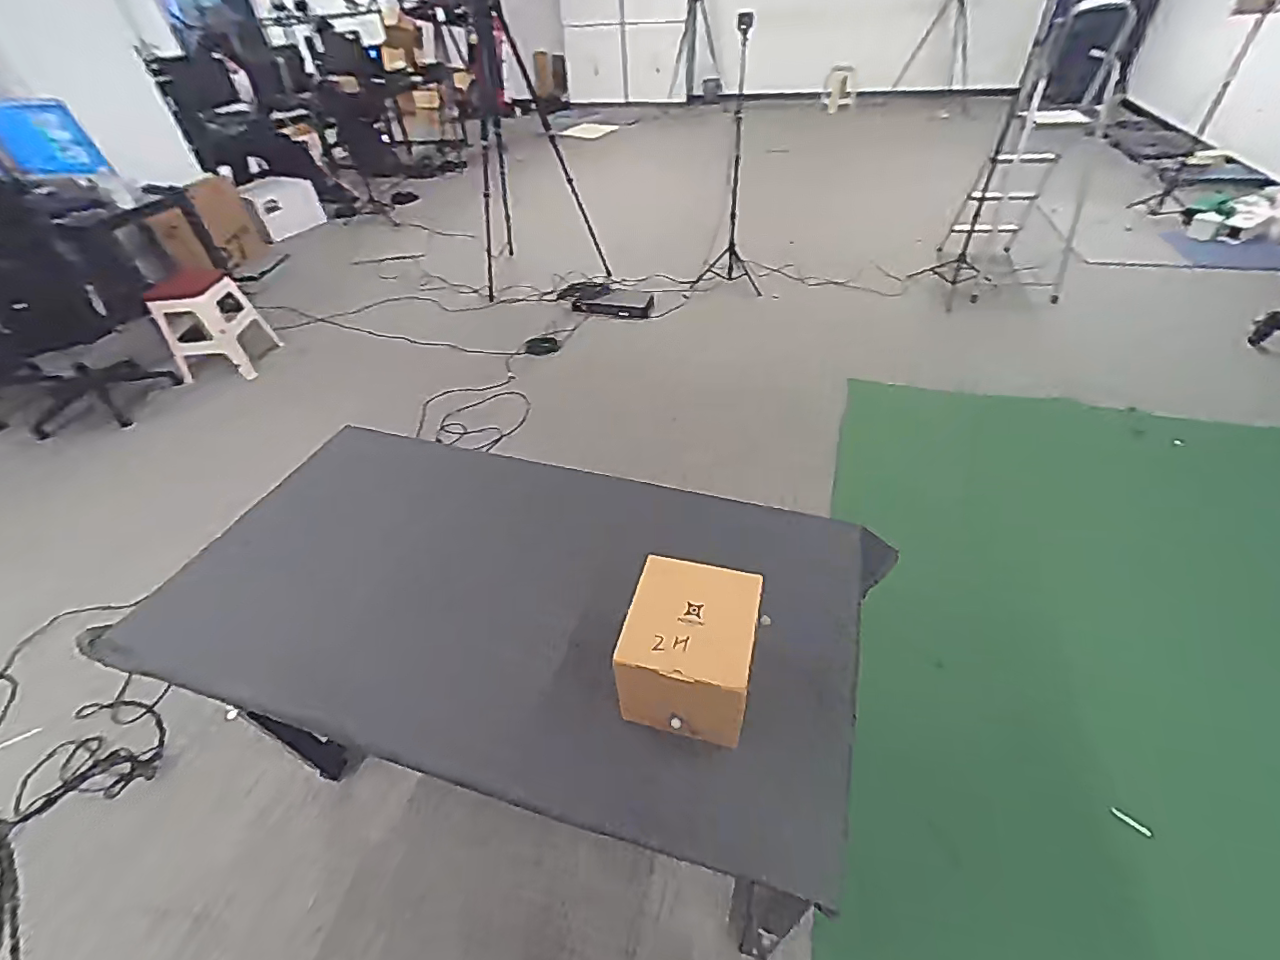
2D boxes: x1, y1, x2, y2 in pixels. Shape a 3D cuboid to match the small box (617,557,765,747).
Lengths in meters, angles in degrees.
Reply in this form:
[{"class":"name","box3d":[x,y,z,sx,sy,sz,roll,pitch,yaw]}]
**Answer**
[{"class":"small box","box3d":[0.076,0.240,0.762,0.168,0.176,0.179,8,44,15]}]
